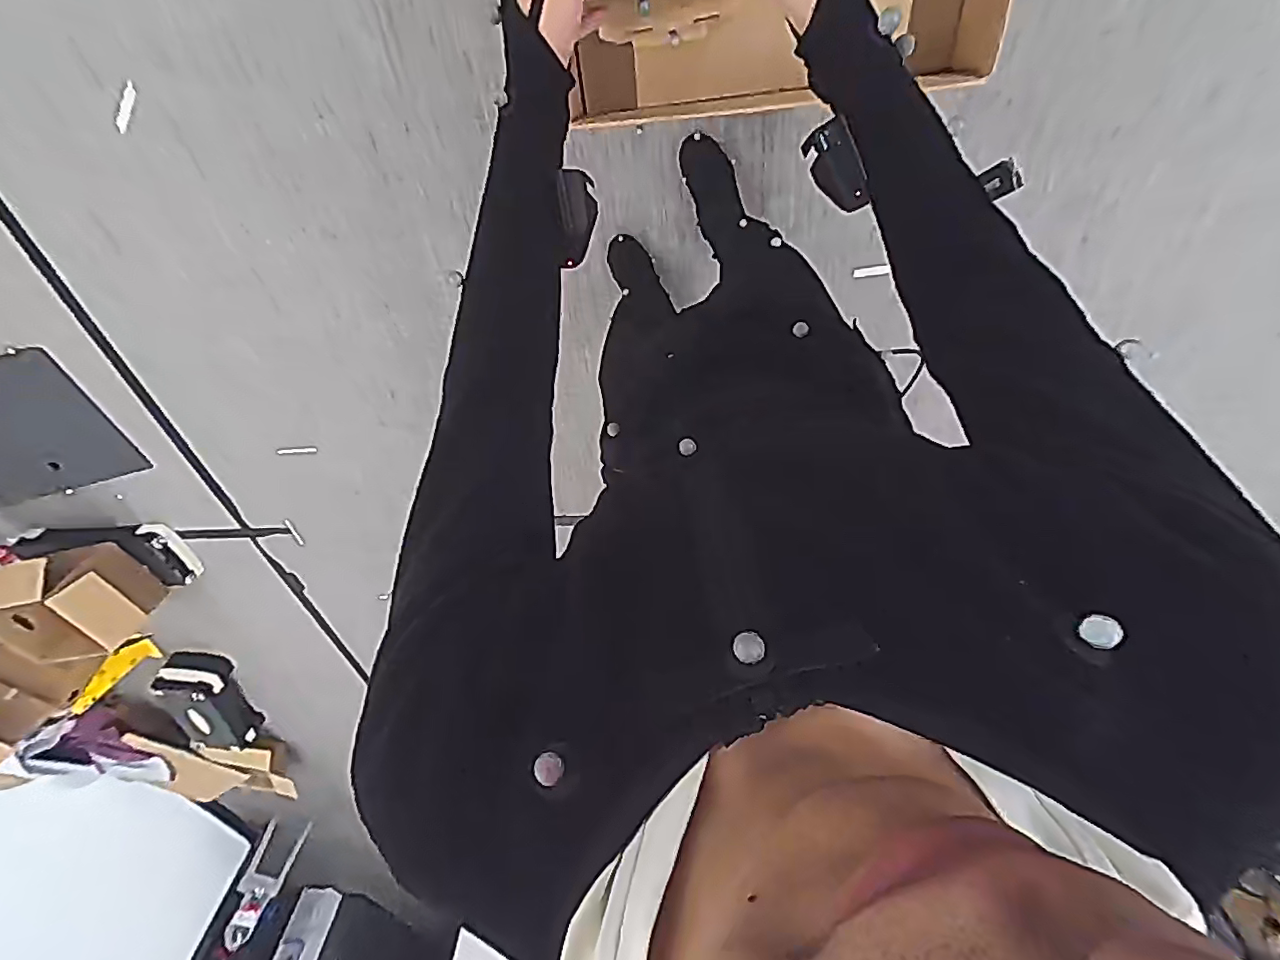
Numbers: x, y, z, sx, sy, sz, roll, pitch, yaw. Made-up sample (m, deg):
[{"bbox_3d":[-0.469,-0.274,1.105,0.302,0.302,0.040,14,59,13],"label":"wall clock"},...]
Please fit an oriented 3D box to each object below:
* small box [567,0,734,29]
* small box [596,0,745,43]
[{"bbox_3d":[0.008,-0.515,0.457,0.168,0.176,0.179,-4,124,7],"label":"small box"},{"bbox_3d":[0.026,-0.613,0.603,0.168,0.176,0.179,-4,128,8],"label":"small box"}]
